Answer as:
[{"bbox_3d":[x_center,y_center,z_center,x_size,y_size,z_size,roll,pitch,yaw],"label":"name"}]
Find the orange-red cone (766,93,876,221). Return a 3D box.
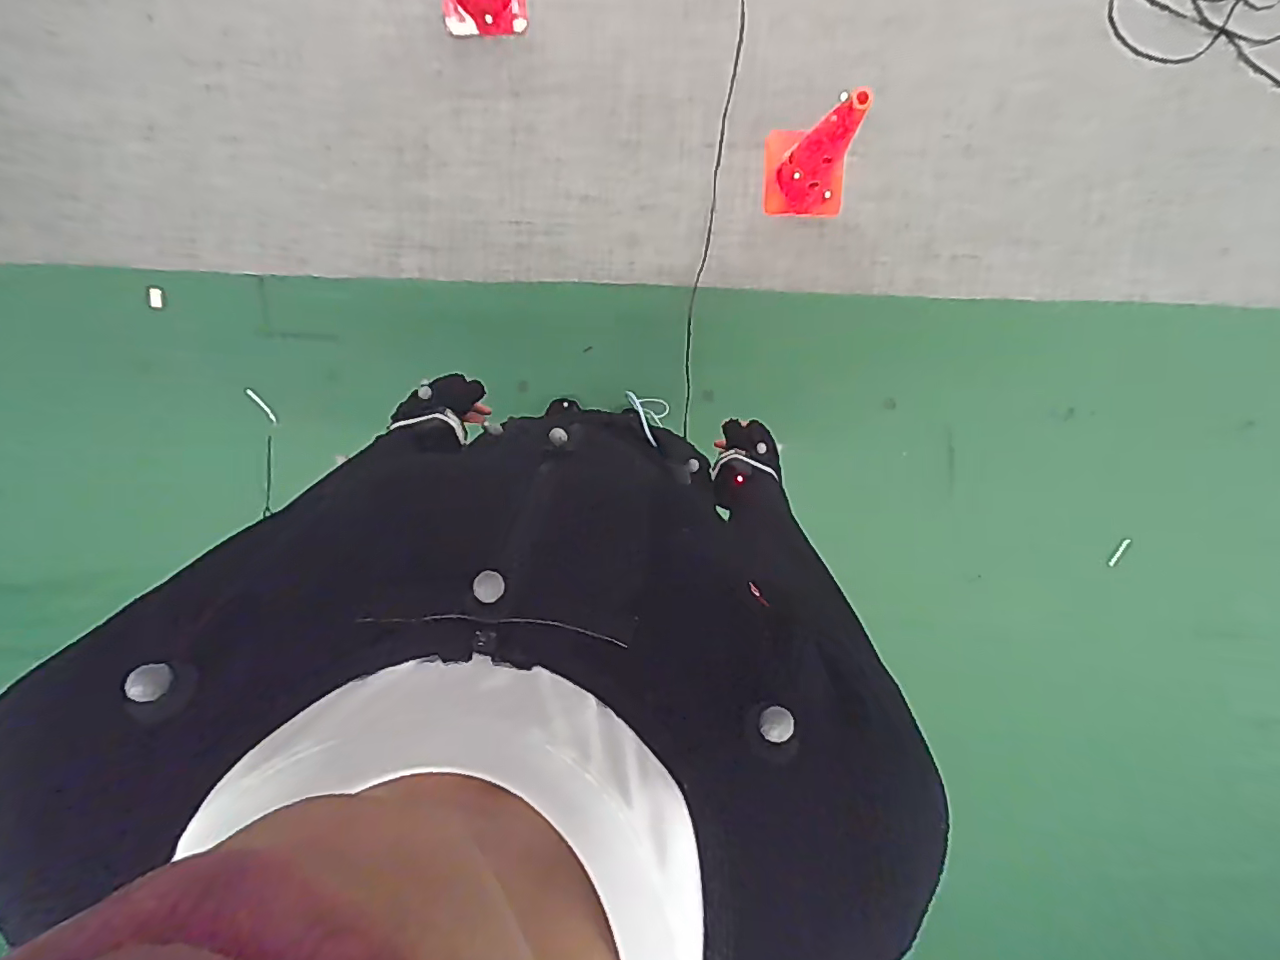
[{"bbox_3d":[0.426,-0.746,1.203,0.198,0.360,0.199,2,97,-2],"label":"orange-red cone"}]

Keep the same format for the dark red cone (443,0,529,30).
[{"bbox_3d":[-0.366,-1.150,1.116,0.202,0.394,0.201,-3,99,0],"label":"dark red cone"}]
